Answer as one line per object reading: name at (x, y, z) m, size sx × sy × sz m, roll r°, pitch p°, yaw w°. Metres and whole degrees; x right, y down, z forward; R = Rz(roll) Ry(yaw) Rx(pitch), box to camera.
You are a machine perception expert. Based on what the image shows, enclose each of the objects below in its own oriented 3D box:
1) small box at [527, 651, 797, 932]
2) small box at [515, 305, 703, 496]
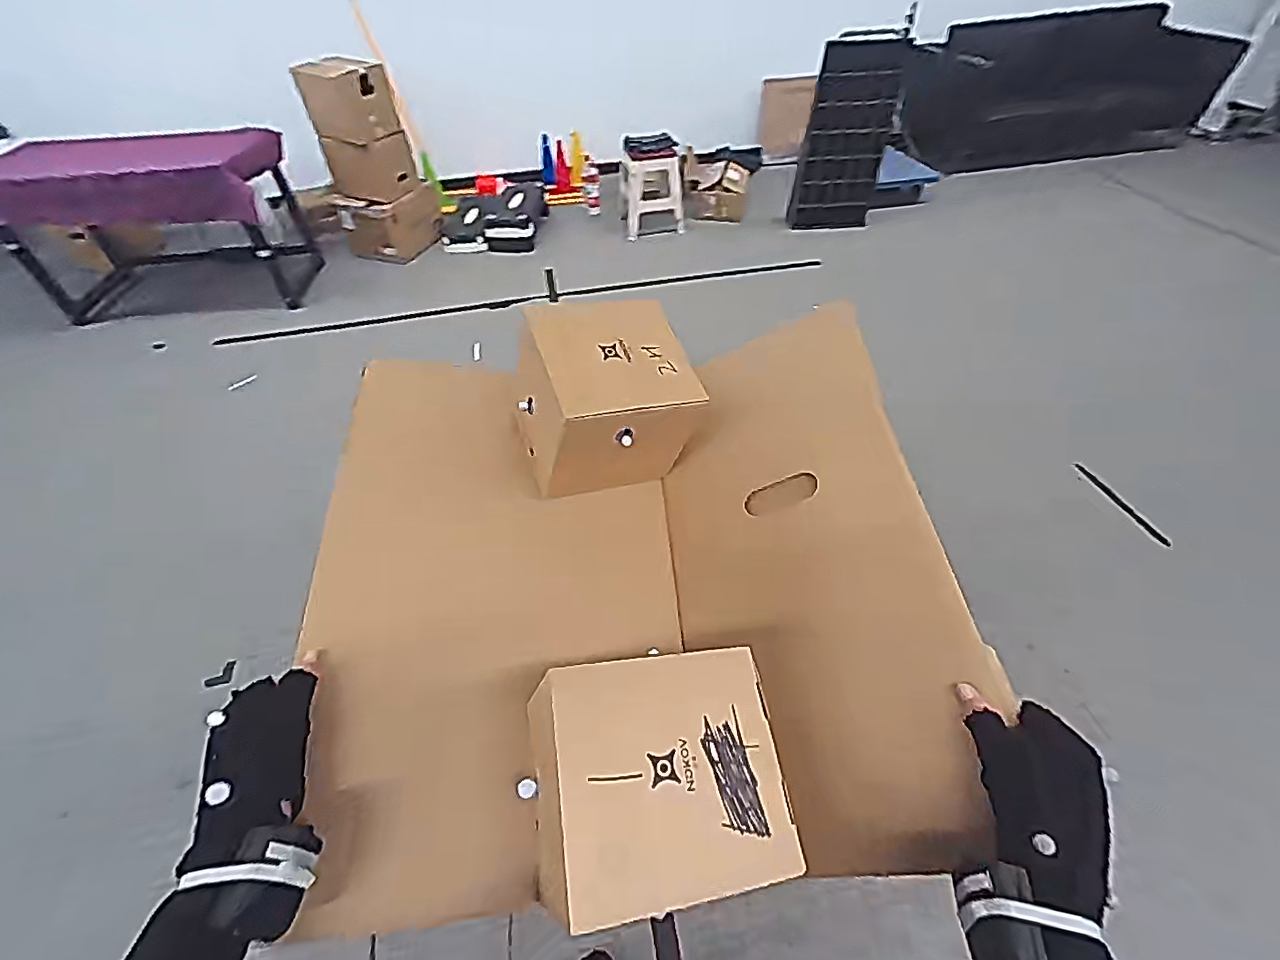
small box at (0.001, 0.257, 0.472) m, size 0.179 × 0.176 × 0.168 m, roll 0°, pitch 60°, yaw -18°
small box at (-0.052, -0.096, 0.676) m, size 0.179 × 0.176 × 0.168 m, roll -10°, pitch 63°, yaw -25°
